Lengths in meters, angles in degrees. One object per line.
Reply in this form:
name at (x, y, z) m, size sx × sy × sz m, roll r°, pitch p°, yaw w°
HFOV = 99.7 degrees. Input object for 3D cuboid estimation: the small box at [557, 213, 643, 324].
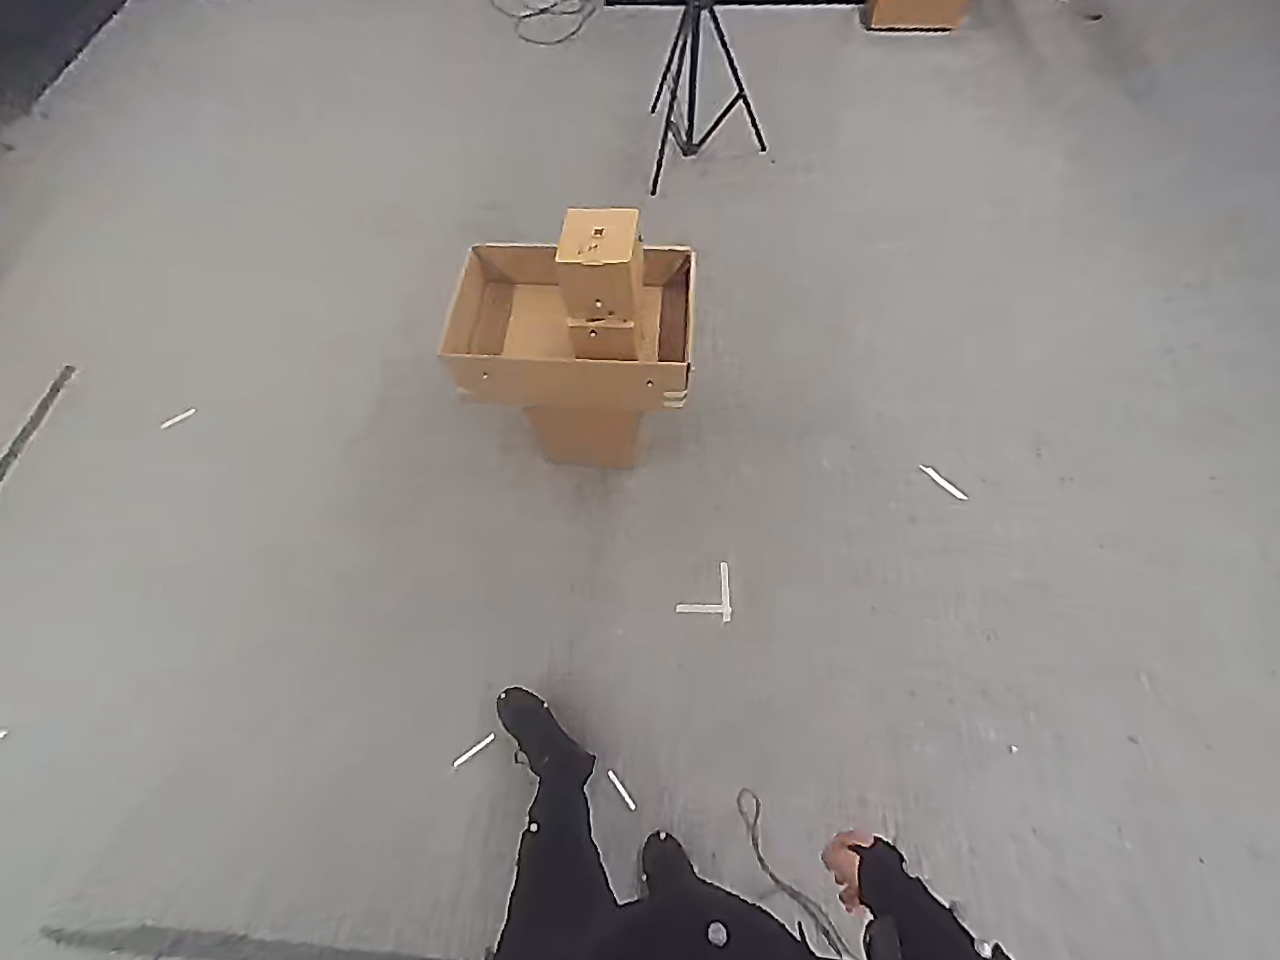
small box at (-0.084, -0.489, 1.254) m, size 0.168 × 0.176 × 0.179 m, roll 3°, pitch 64°, yaw 7°
